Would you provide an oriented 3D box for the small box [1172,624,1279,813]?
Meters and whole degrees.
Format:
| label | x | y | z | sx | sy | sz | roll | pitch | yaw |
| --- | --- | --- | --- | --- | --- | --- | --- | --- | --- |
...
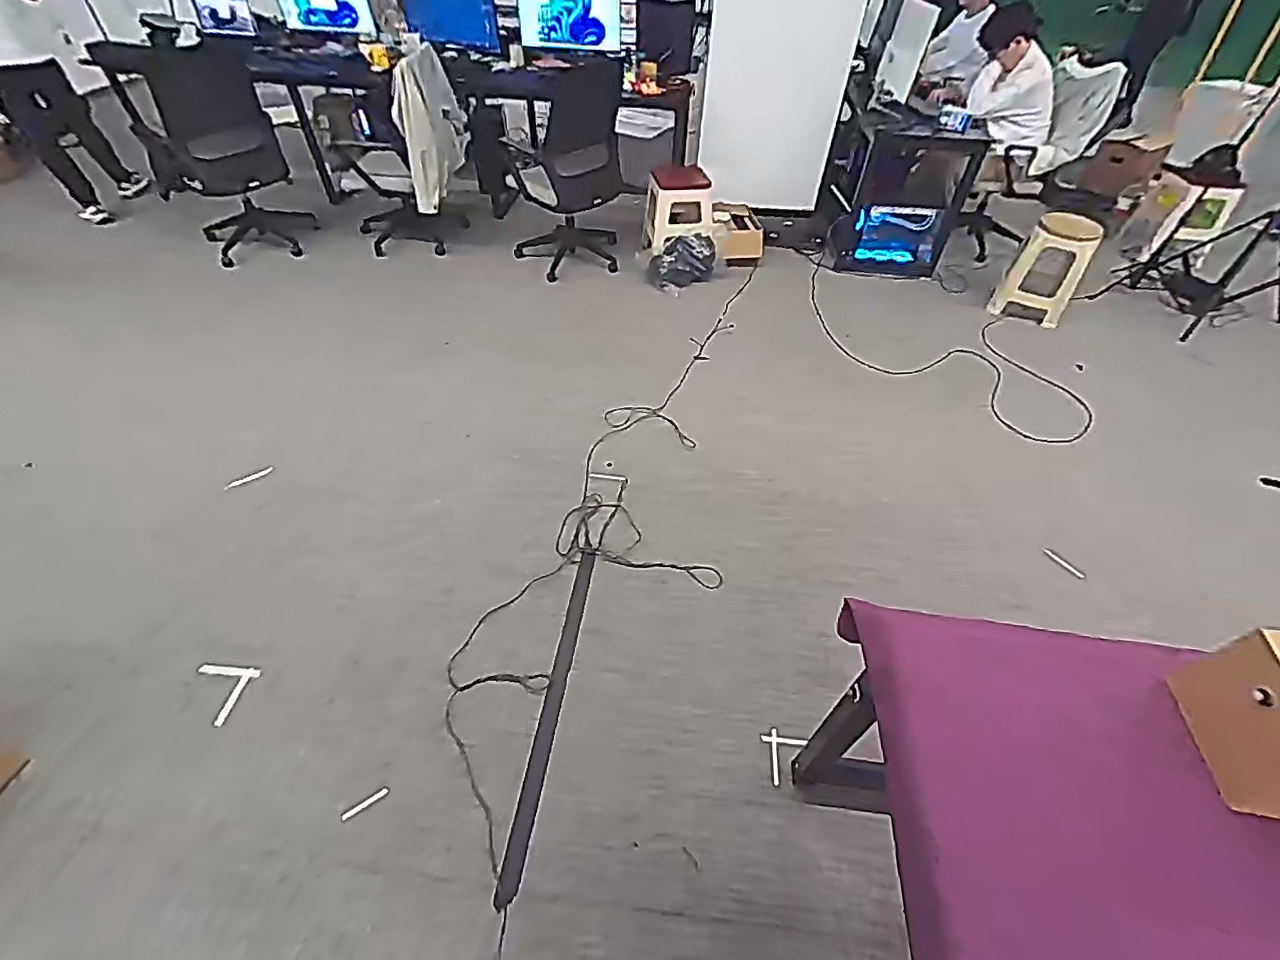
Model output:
| label | x | y | z | sx | sy | sz | roll | pitch | yaw |
| --- | --- | --- | --- | --- | --- | --- | --- | --- | --- |
| small box | 0.851 | 0.311 | 0.686 | 0.168 | 0.176 | 0.179 | 7 | 49 | 7 |
